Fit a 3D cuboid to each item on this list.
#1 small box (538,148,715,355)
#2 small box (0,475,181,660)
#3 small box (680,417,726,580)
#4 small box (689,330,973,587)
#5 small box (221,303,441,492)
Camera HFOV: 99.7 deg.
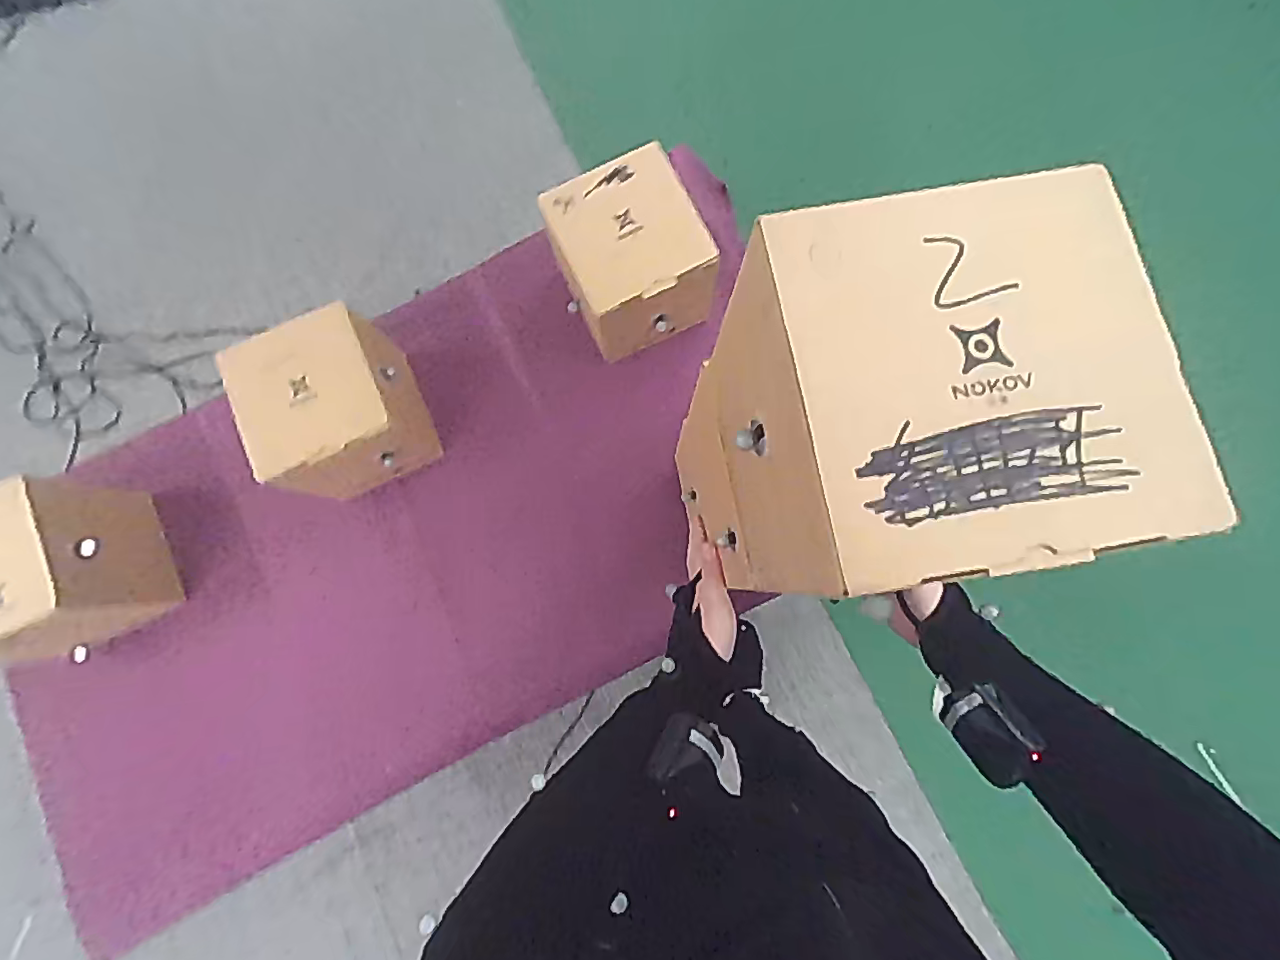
[{"bbox_3d":[-0.014,-0.289,0.732,0.168,0.176,0.179,-26,83,-2],"label":"small box"},{"bbox_3d":[-0.747,0.116,0.691,0.168,0.176,0.179,-27,80,-3],"label":"small box"},{"bbox_3d":[0.143,0.020,0.636,0.168,0.176,0.179,-9,80,-1],"label":"small box"},{"bbox_3d":[0.143,-0.006,0.476,0.168,0.176,0.179,-10,81,-2],"label":"small box"},{"bbox_3d":[-0.392,-0.093,0.716,0.168,0.176,0.179,-24,80,-3],"label":"small box"}]
